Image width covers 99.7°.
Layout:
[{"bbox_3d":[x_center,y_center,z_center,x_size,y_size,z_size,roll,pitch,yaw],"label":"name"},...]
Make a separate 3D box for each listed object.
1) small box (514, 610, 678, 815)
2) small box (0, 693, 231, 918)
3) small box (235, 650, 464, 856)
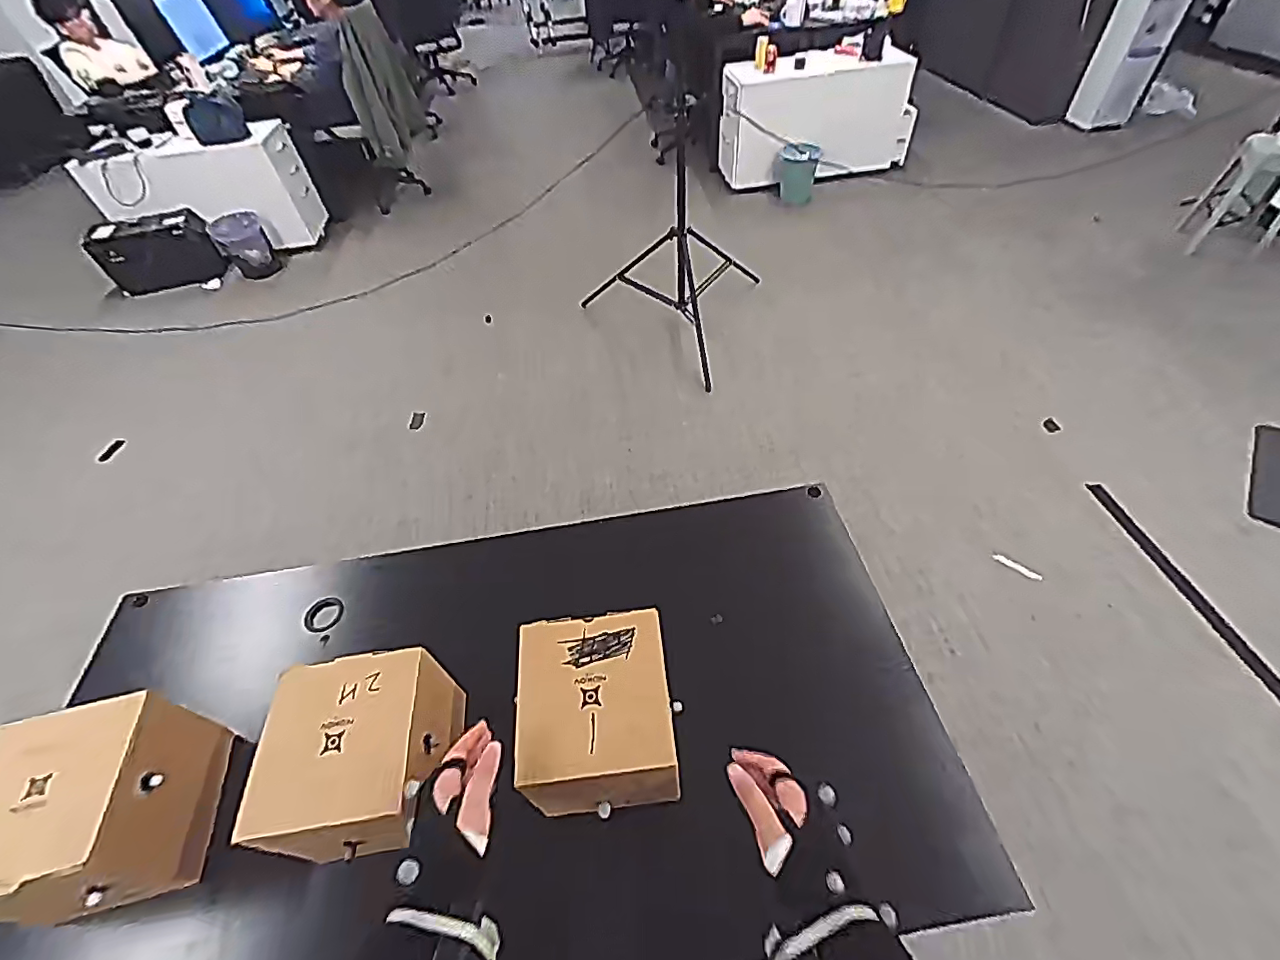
[{"bbox_3d":[-0.047,0.281,0.652,0.168,0.176,0.179,-7,50,0],"label":"small box"},{"bbox_3d":[-0.620,0.378,0.623,0.168,0.176,0.179,-12,48,-7],"label":"small box"},{"bbox_3d":[-0.317,0.326,0.638,0.168,0.176,0.179,-8,49,-3],"label":"small box"}]
